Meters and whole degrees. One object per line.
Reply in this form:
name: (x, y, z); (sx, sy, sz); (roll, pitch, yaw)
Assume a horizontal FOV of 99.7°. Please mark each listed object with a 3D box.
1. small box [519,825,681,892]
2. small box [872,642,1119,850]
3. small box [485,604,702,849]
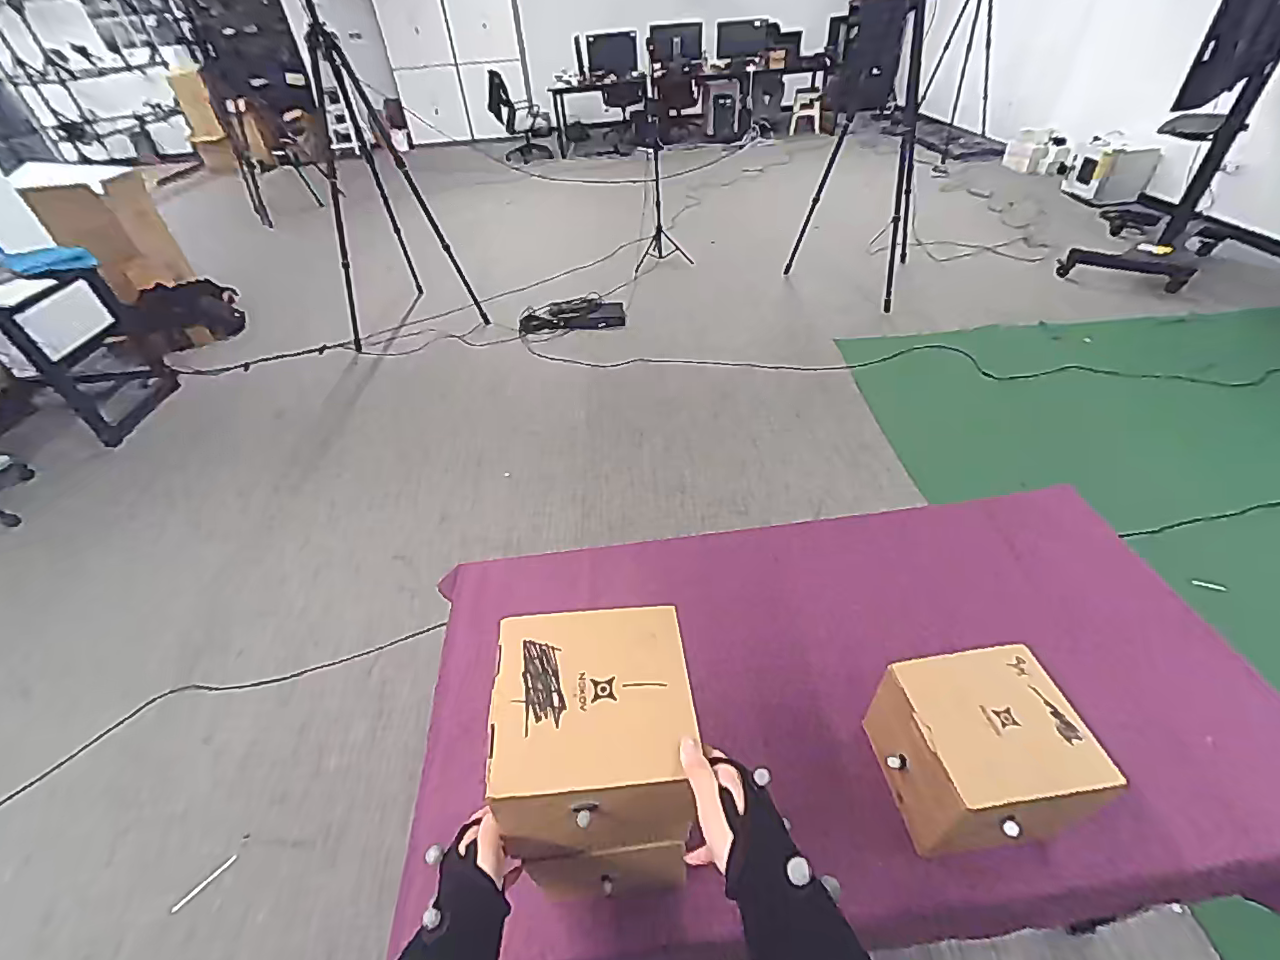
small box: (-0.042, 0.371, 0.652); (0.168, 0.176, 0.179); (-6, 41, -2)
small box: (0.402, 0.324, 0.657); (0.179, 0.176, 0.168); (-8, 42, -2)
small box: (-0.045, 0.243, 0.536); (0.179, 0.176, 0.168); (-2, 42, -7)
